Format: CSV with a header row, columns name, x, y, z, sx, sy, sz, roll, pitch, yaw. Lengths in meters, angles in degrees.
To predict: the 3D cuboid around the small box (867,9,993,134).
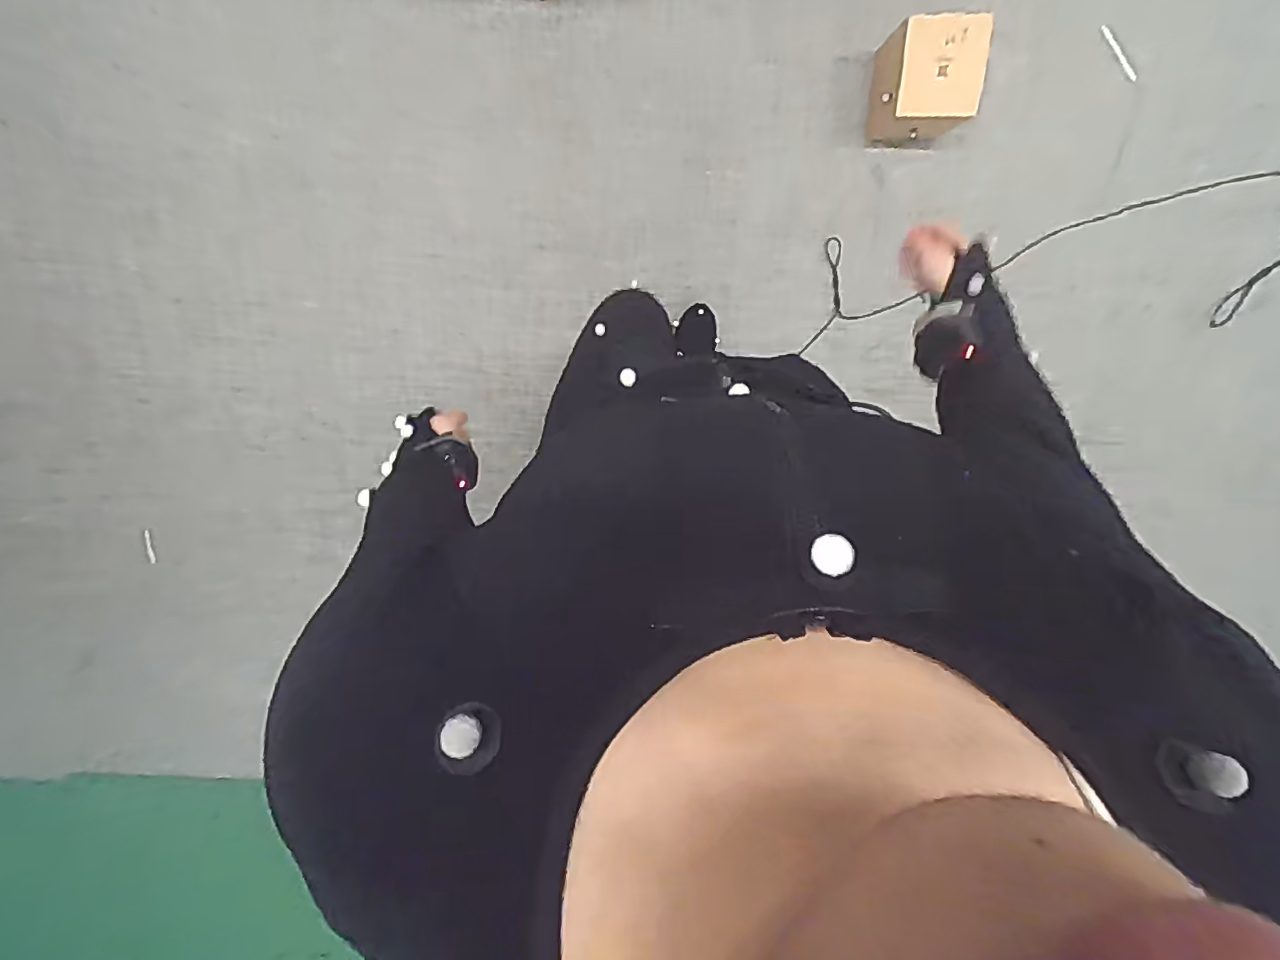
name,x,y,z,sx,sy,sz,roll,pitch,yaw
small box,0.599,-0.851,1.144,0.168,0.176,0.179,0,108,1
